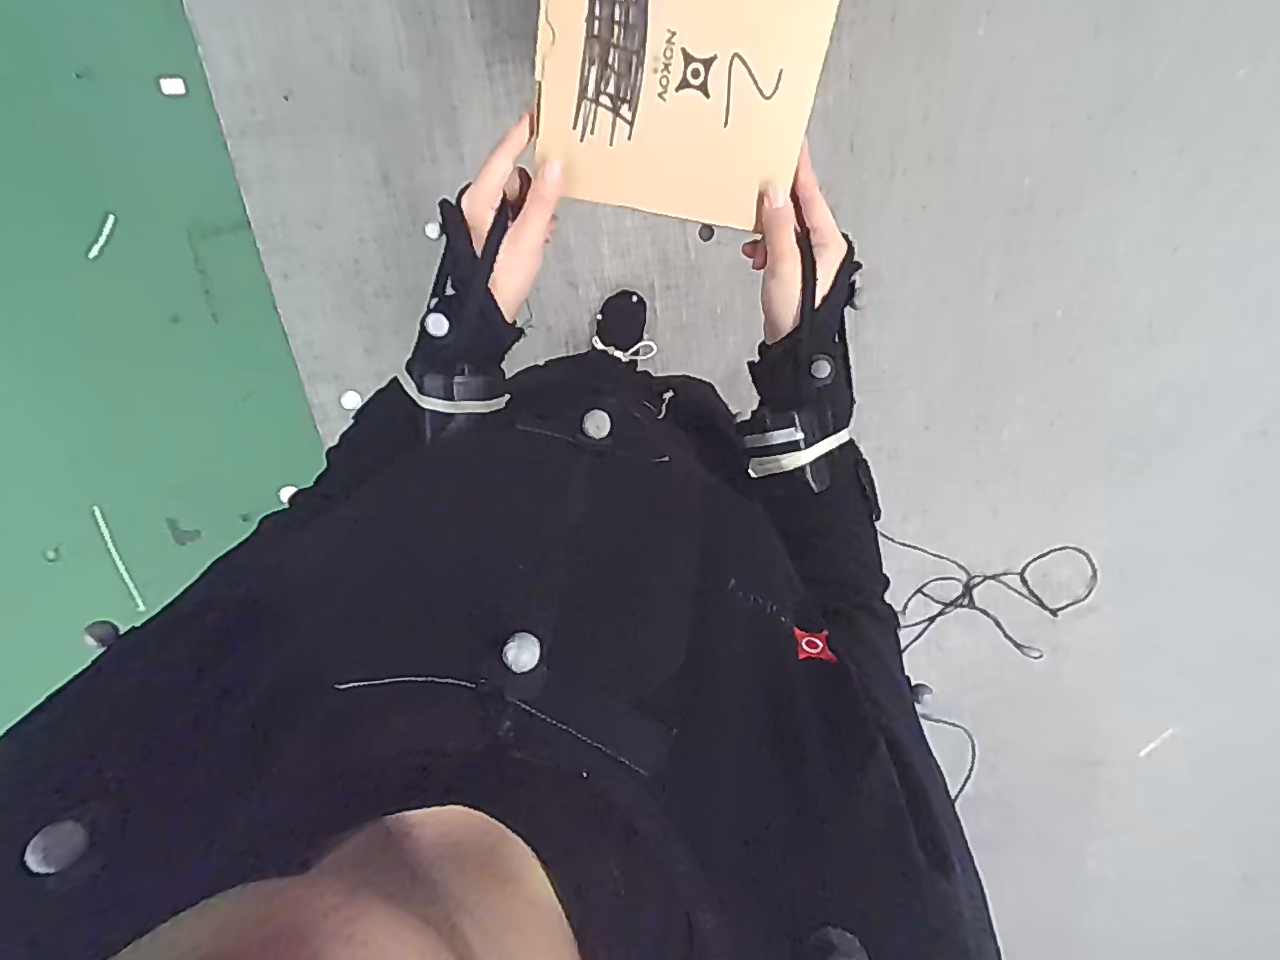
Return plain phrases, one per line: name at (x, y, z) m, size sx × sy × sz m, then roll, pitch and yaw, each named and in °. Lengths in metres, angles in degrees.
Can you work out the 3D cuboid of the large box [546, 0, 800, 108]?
large box at (0.043, -0.892, 0.952) m, size 0.408 × 0.320 × 0.320 m, roll -2°, pitch 108°, yaw -1°
